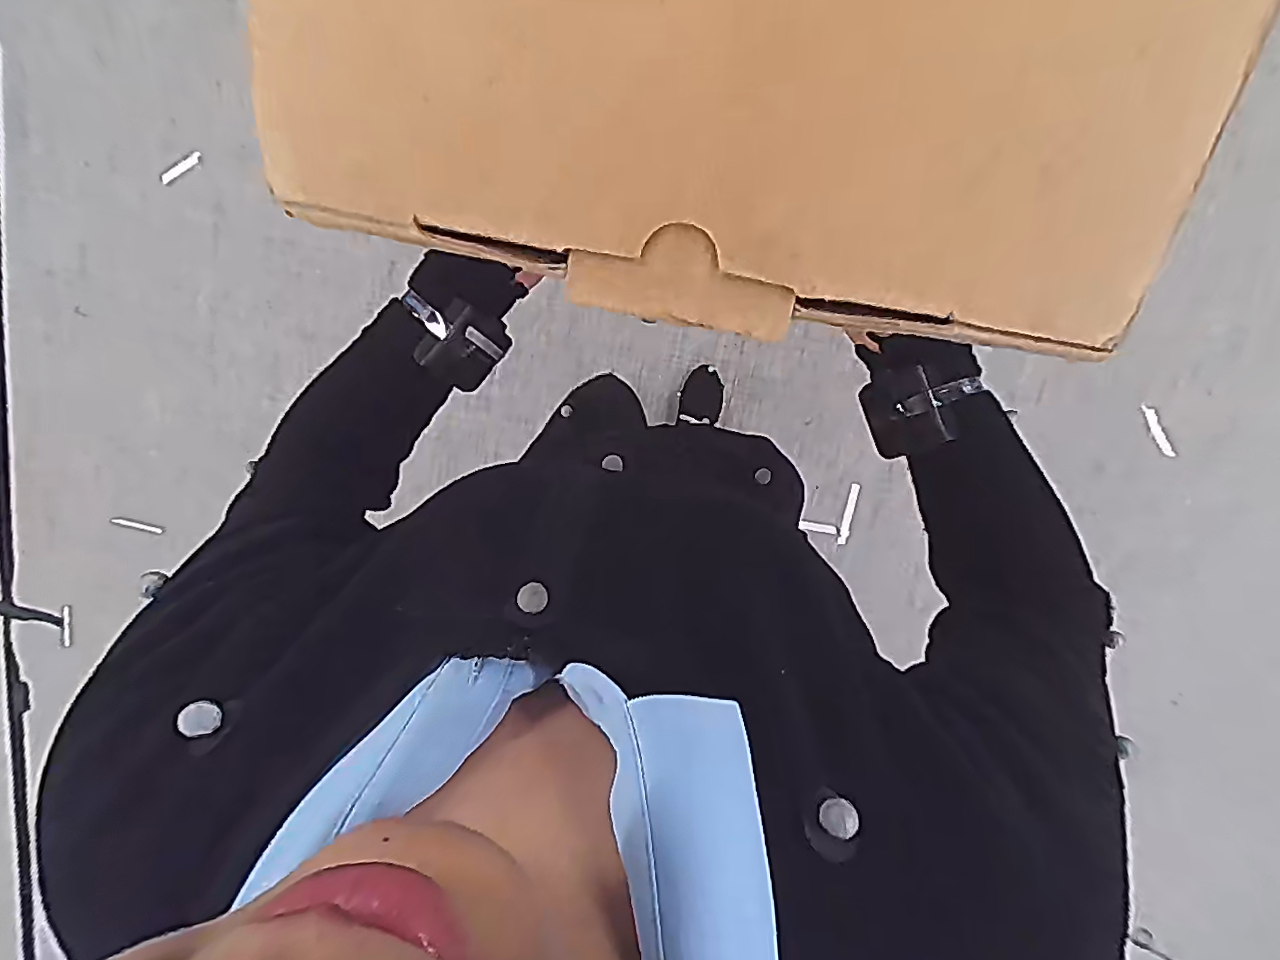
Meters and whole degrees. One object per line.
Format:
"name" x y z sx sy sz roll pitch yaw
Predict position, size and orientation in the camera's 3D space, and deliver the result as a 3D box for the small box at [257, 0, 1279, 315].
"small box" 0.035 -0.149 0.144 0.168 0.176 0.179 11 110 2
